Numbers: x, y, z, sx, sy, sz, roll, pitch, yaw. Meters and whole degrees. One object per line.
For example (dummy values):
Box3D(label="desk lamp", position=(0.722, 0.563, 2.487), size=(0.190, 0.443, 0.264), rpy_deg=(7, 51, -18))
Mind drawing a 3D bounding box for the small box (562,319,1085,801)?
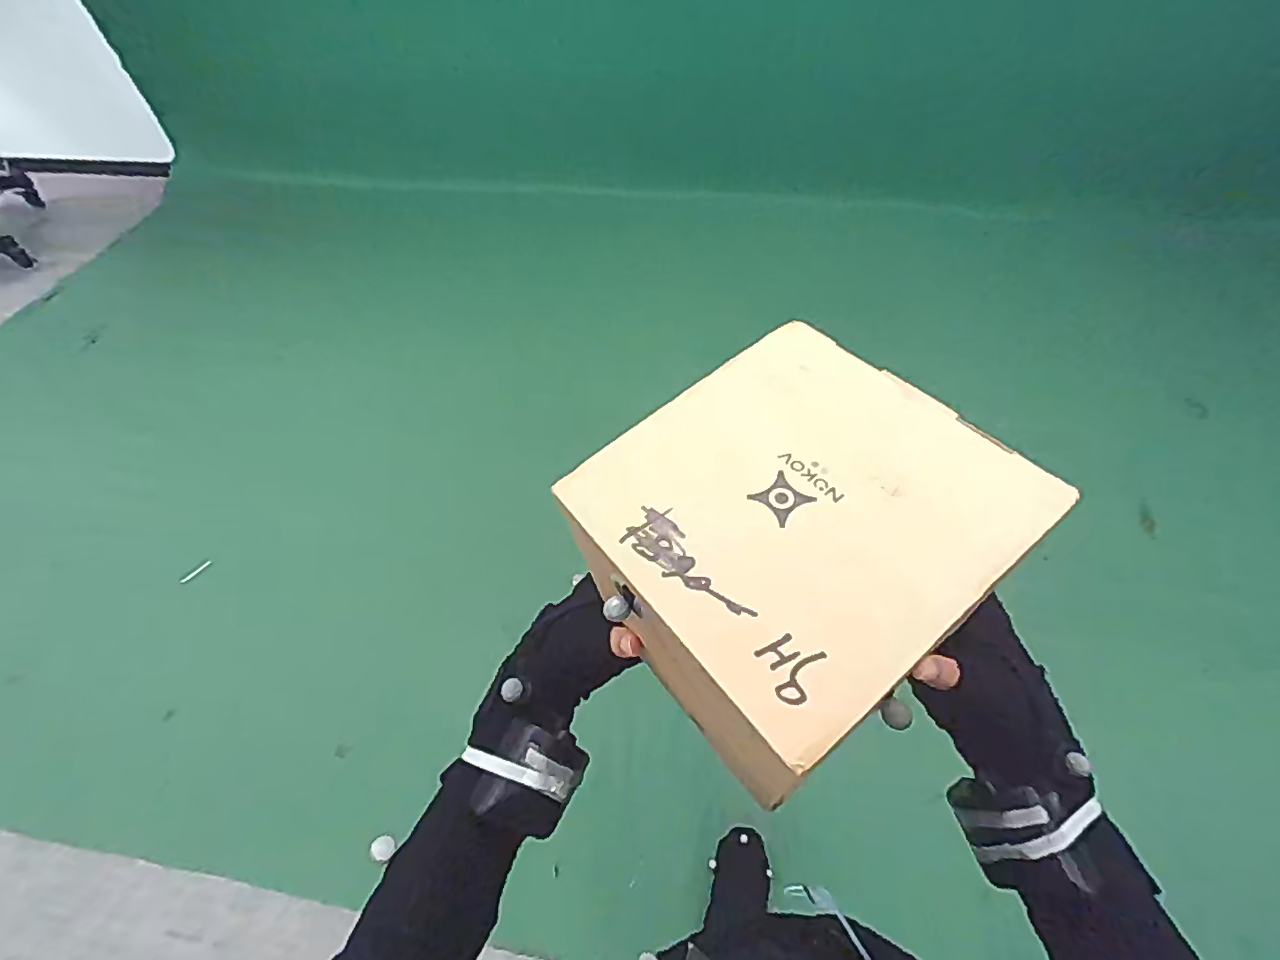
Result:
Box3D(label="small box", position=(0.084, 0.048, 0.311), size=(0.179, 0.176, 0.168), rpy_deg=(-35, 56, -16))
